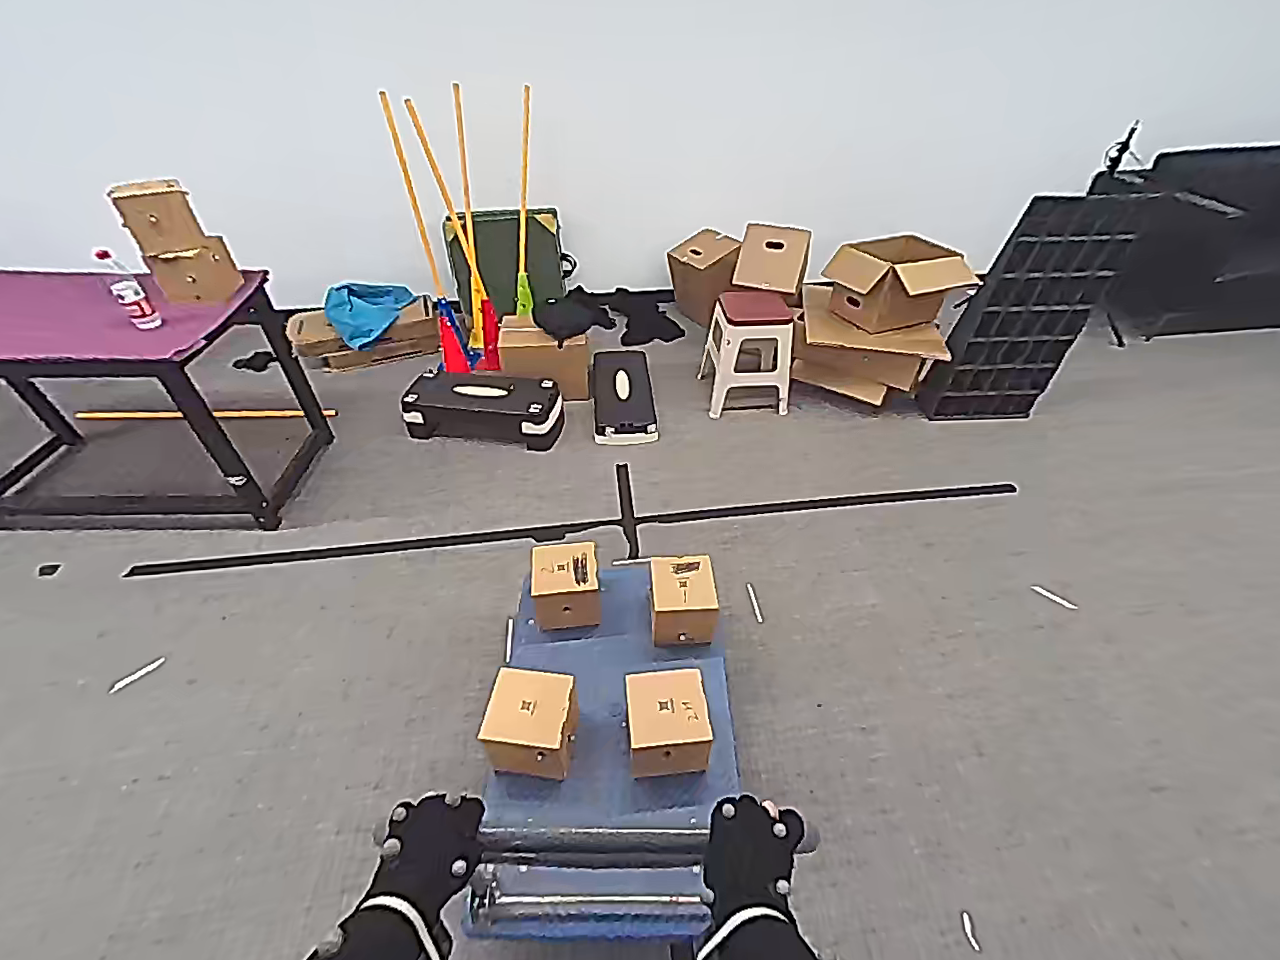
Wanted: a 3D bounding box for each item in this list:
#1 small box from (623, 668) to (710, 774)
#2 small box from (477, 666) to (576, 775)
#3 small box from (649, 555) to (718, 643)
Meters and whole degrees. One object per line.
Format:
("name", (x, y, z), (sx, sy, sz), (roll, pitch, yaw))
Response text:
("small box", (0.056, 0.551, 1.231), (0.179, 0.176, 0.168), (-3, 43, -4))
("small box", (-0.248, 0.549, 1.230), (0.179, 0.176, 0.168), (6, 42, 4))
("small box", (0.112, 0.325, 1.477), (0.168, 0.176, 0.179), (-2, 44, -2))
